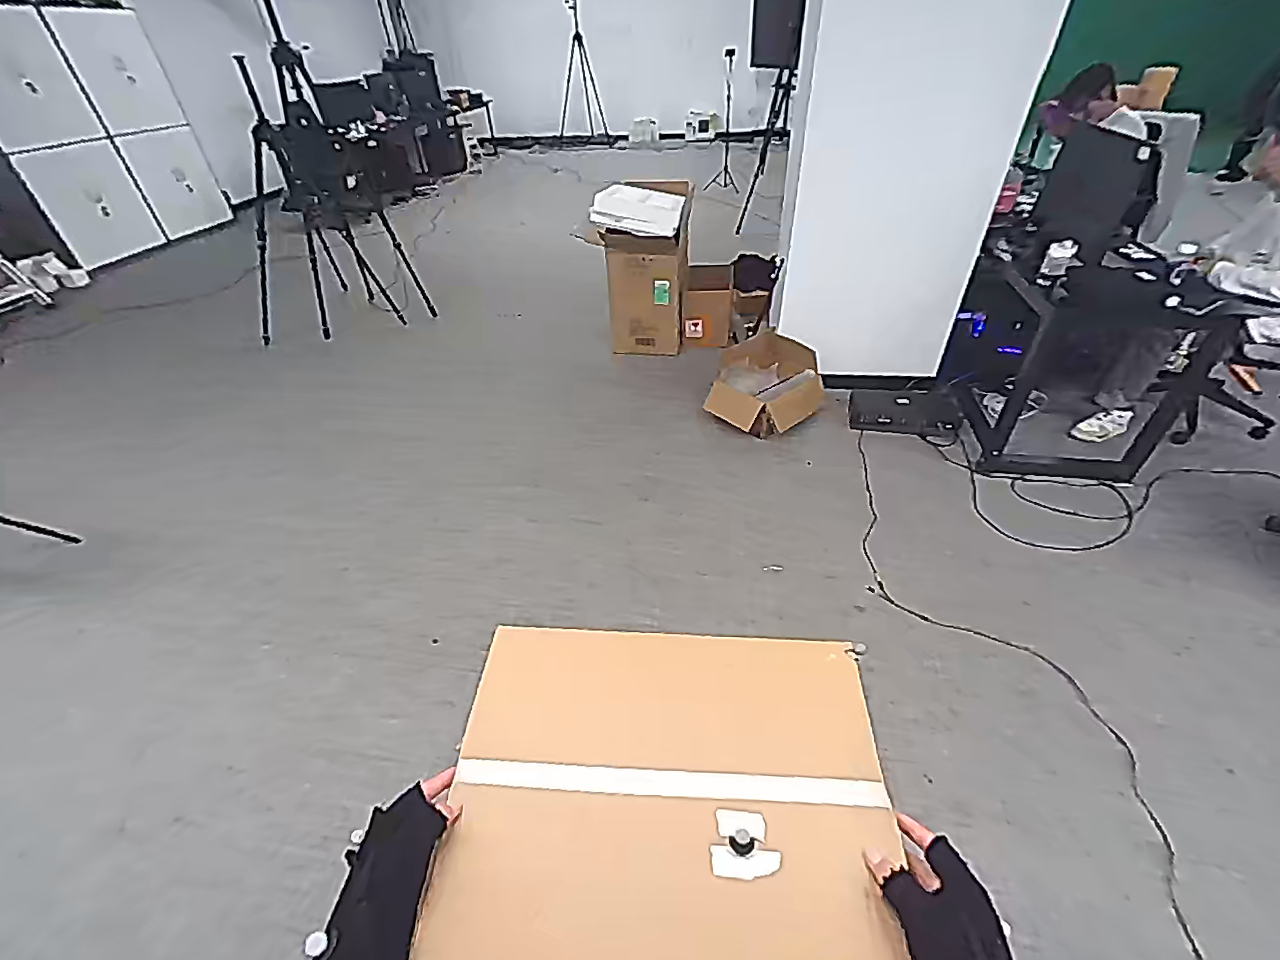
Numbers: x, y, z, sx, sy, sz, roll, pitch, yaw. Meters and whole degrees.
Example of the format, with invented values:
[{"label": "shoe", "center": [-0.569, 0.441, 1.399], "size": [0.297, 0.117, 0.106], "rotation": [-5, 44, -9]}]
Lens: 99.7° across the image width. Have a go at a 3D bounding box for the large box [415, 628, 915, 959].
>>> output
[{"label": "large box", "center": [0.027, 0.395, 0.625], "size": [0.408, 0.320, 0.320], "rotation": [2, 44, 4]}]
